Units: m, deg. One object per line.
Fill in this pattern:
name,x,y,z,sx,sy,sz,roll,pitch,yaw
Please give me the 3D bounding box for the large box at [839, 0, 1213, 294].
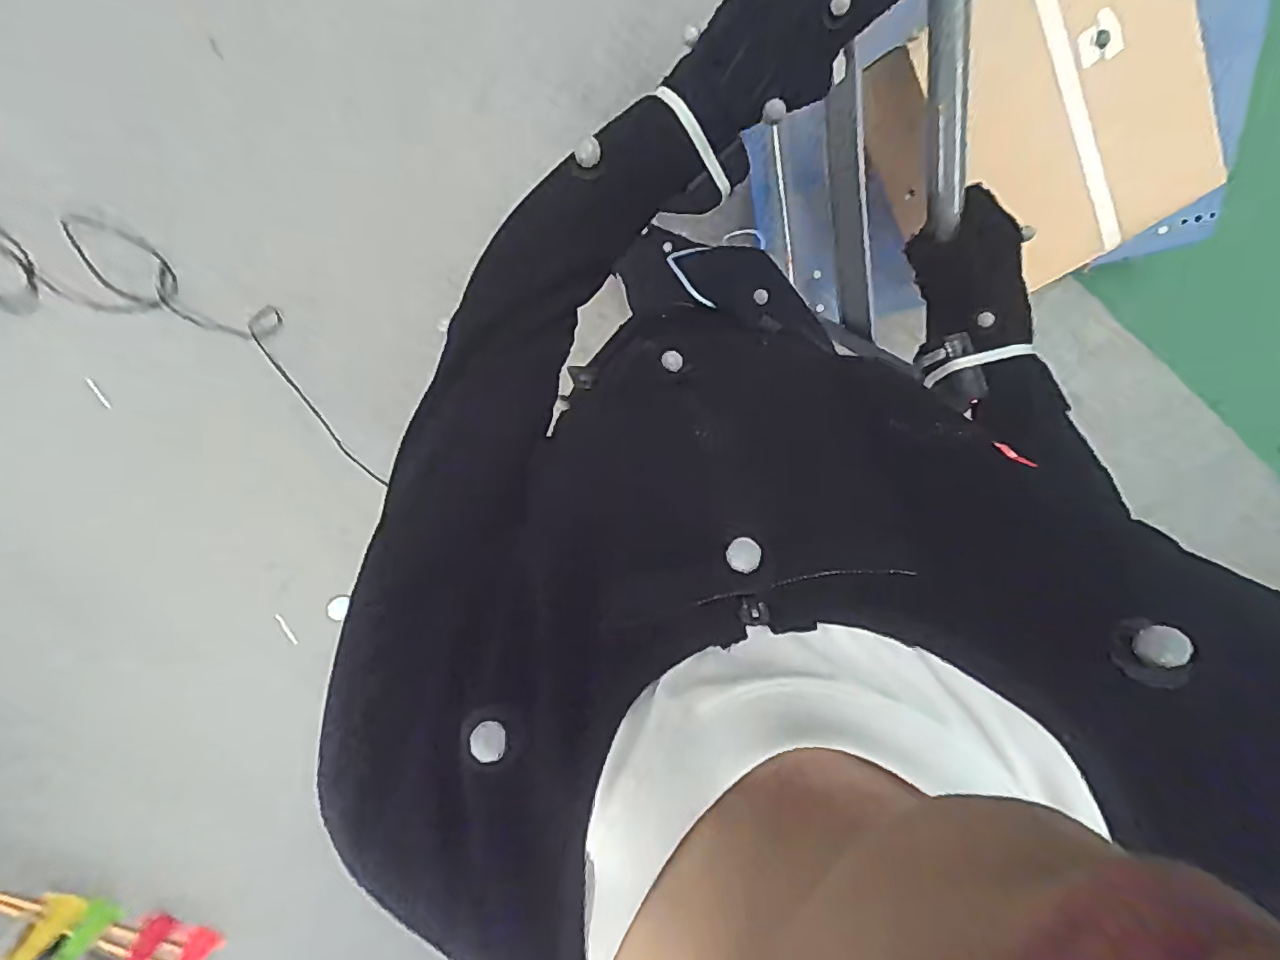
large box,0.580,-0.575,0.869,0.320,0.320,0.408,-30,111,17
